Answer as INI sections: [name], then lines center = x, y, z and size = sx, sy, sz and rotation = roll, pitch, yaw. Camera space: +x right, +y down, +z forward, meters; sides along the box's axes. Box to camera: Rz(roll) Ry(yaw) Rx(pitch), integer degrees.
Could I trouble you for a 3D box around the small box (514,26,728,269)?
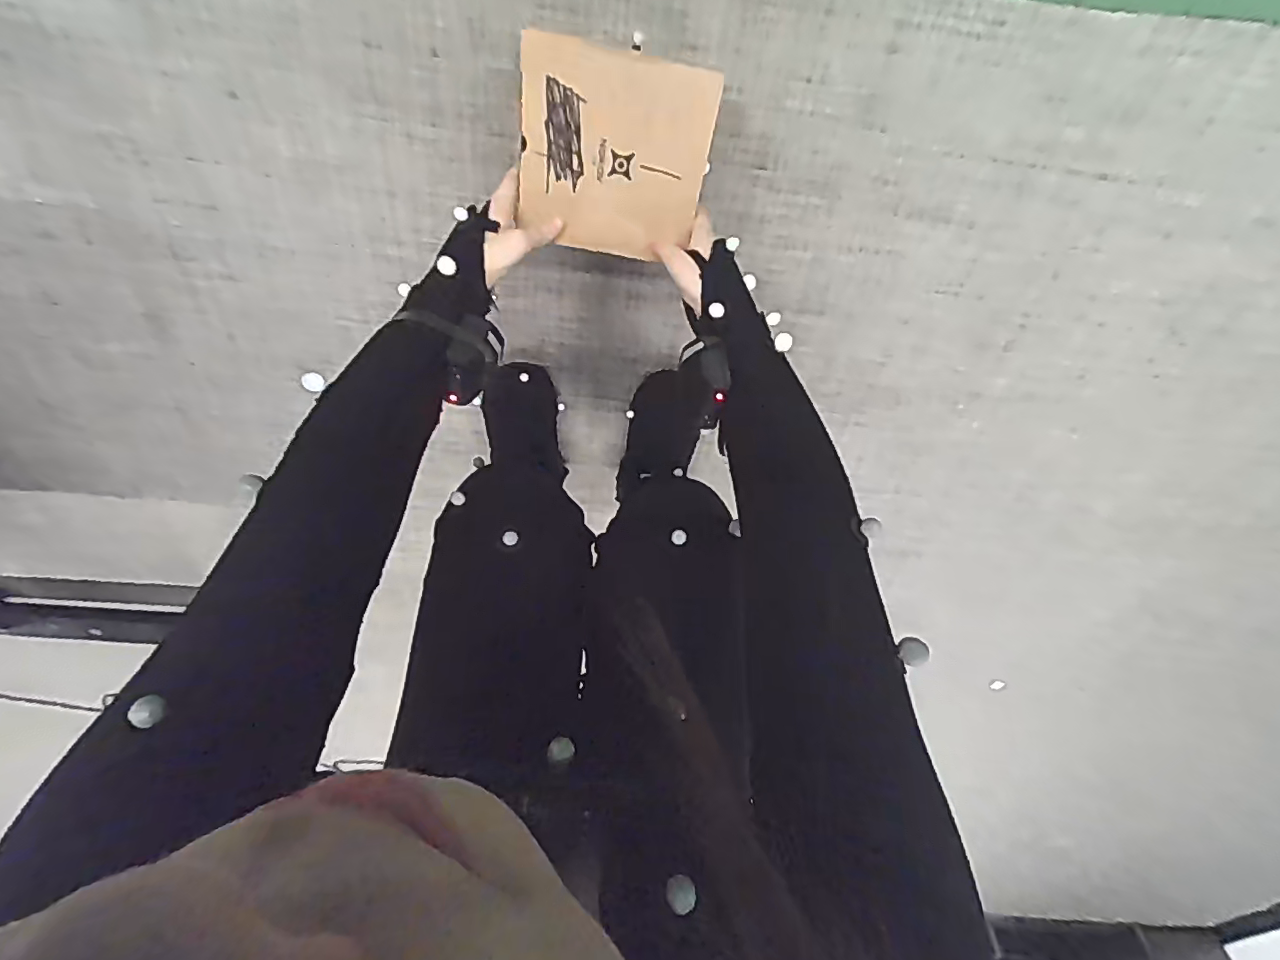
[small box]
center = -0.024, -0.338, 0.552
size = 0.179, 0.176, 0.168
rotation = 7, 129, -6
